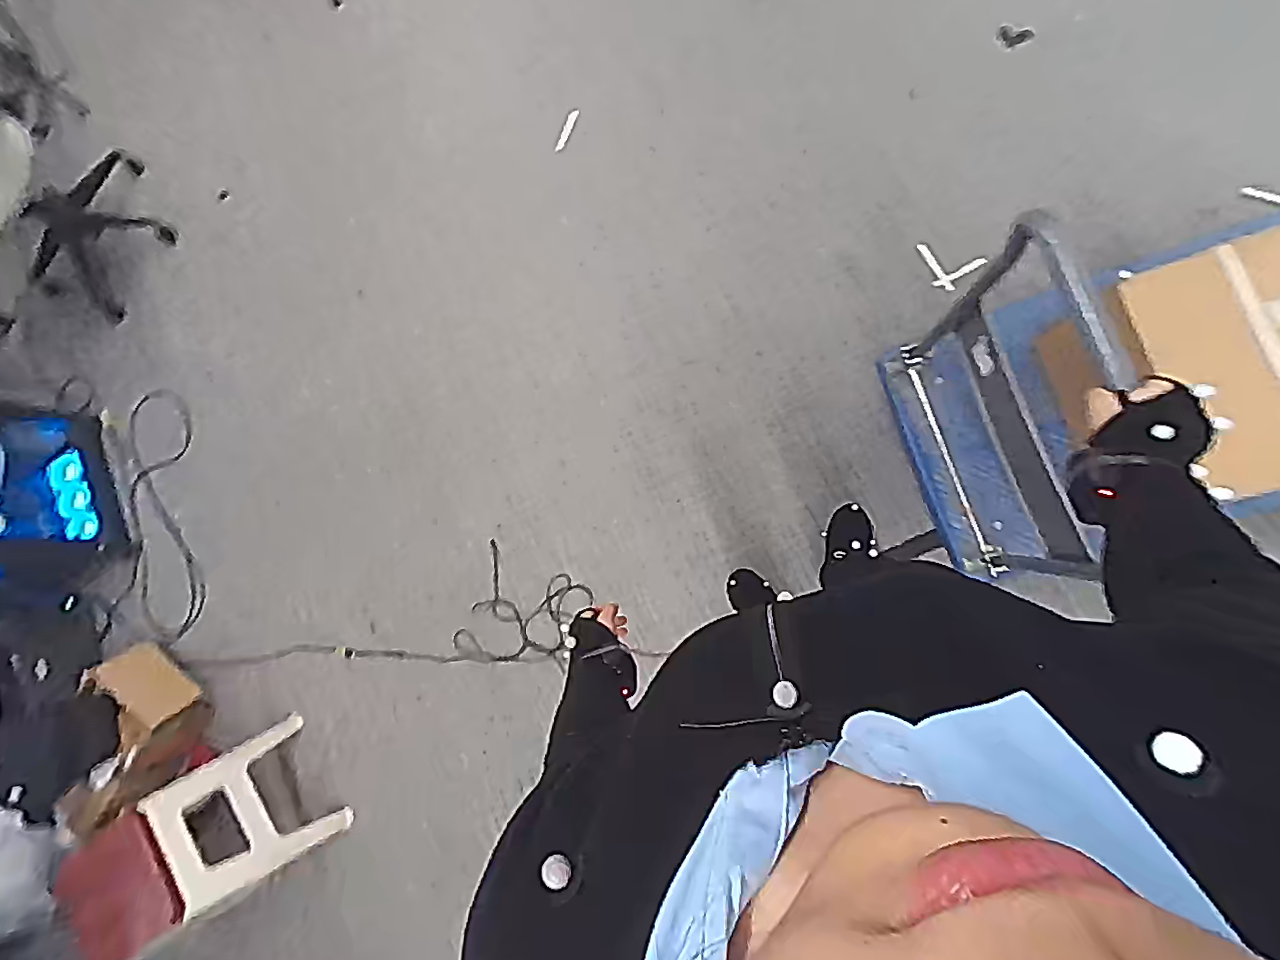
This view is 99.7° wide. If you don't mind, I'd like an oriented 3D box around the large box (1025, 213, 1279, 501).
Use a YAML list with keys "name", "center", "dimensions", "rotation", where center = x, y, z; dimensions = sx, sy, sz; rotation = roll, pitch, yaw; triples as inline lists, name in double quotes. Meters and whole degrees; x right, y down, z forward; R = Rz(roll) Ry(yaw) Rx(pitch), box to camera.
- name: "large box"
  center: [1.042, -0.202, 1.039]
  dimensions: [0.320, 0.320, 0.408]
  rotation: [-18, 80, 10]
